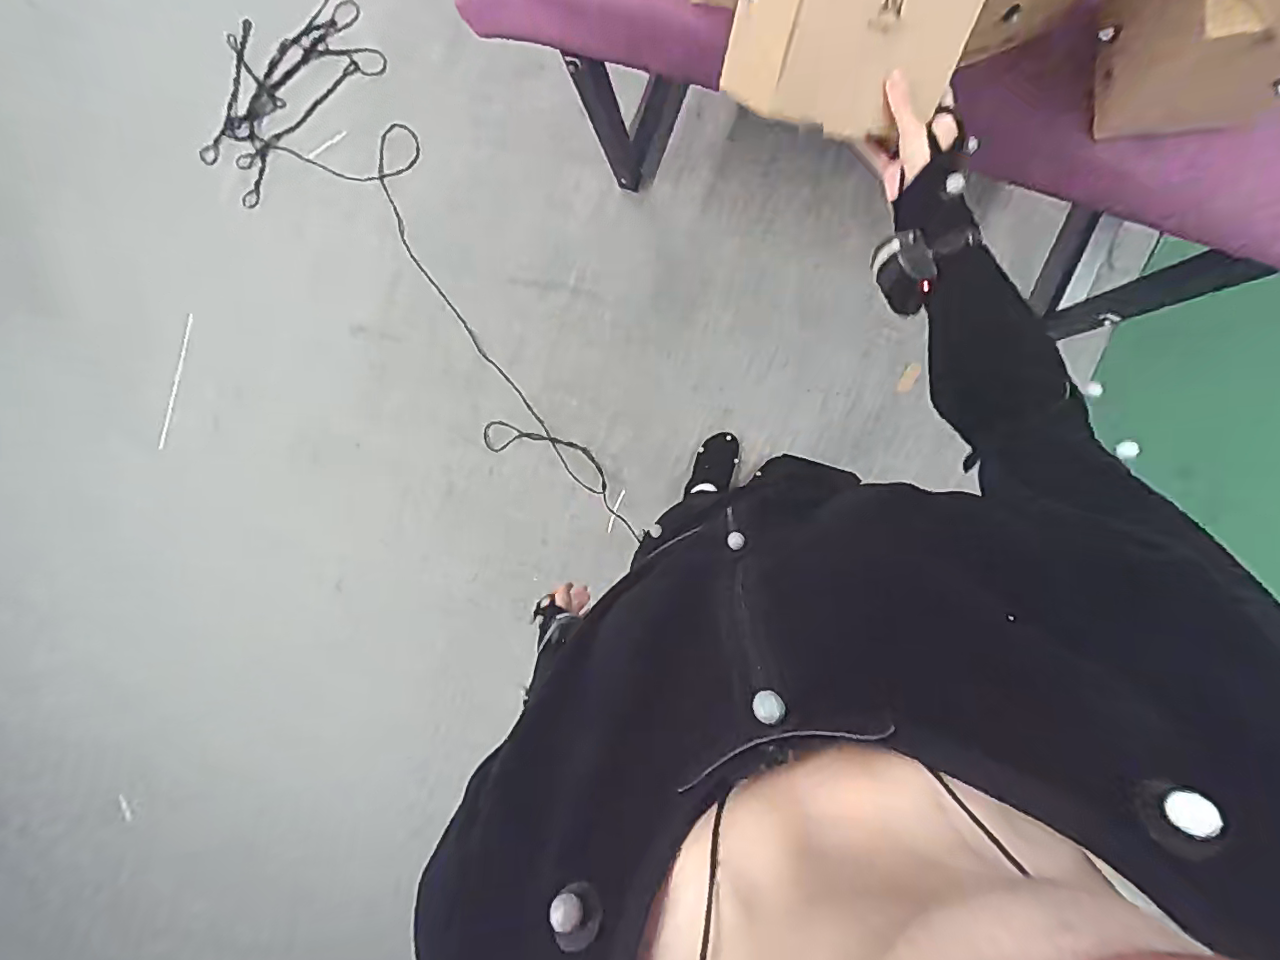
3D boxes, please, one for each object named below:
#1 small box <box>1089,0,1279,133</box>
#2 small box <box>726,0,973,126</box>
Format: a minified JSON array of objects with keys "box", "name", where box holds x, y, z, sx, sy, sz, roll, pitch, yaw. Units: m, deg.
[{"box":[0.636,-0.507,0.579,0.179,0.176,0.168,1,92,10],"name":"small box"},{"box":[0.193,-0.464,0.505,0.168,0.176,0.179,2,133,-14],"name":"small box"}]
